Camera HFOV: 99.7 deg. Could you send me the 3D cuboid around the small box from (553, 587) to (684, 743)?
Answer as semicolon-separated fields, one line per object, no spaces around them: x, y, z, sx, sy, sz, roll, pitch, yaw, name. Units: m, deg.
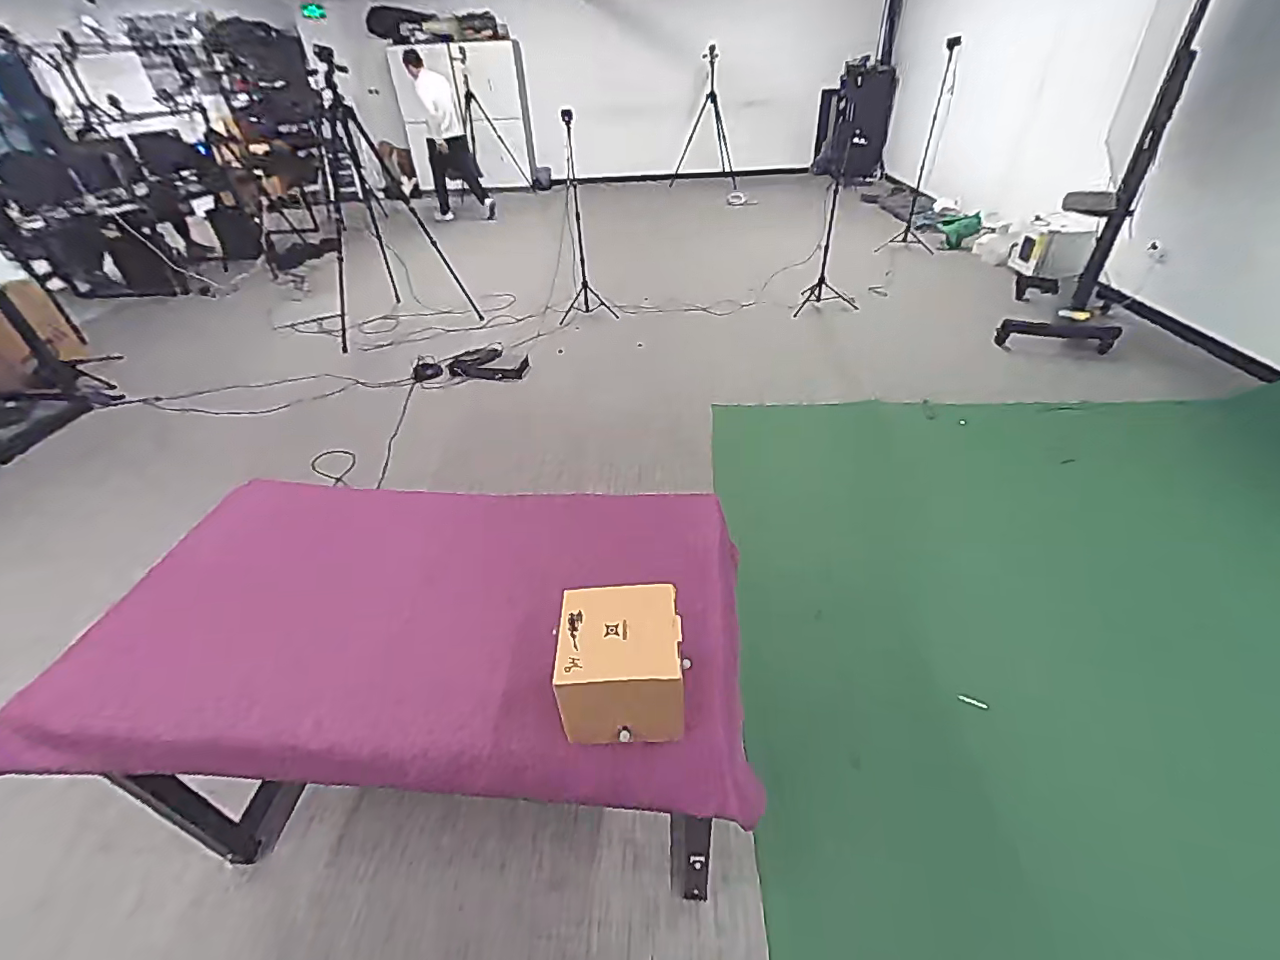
-0.026;0.284;0.828;0.179;0.176;0.168;-3;37;2;small box
